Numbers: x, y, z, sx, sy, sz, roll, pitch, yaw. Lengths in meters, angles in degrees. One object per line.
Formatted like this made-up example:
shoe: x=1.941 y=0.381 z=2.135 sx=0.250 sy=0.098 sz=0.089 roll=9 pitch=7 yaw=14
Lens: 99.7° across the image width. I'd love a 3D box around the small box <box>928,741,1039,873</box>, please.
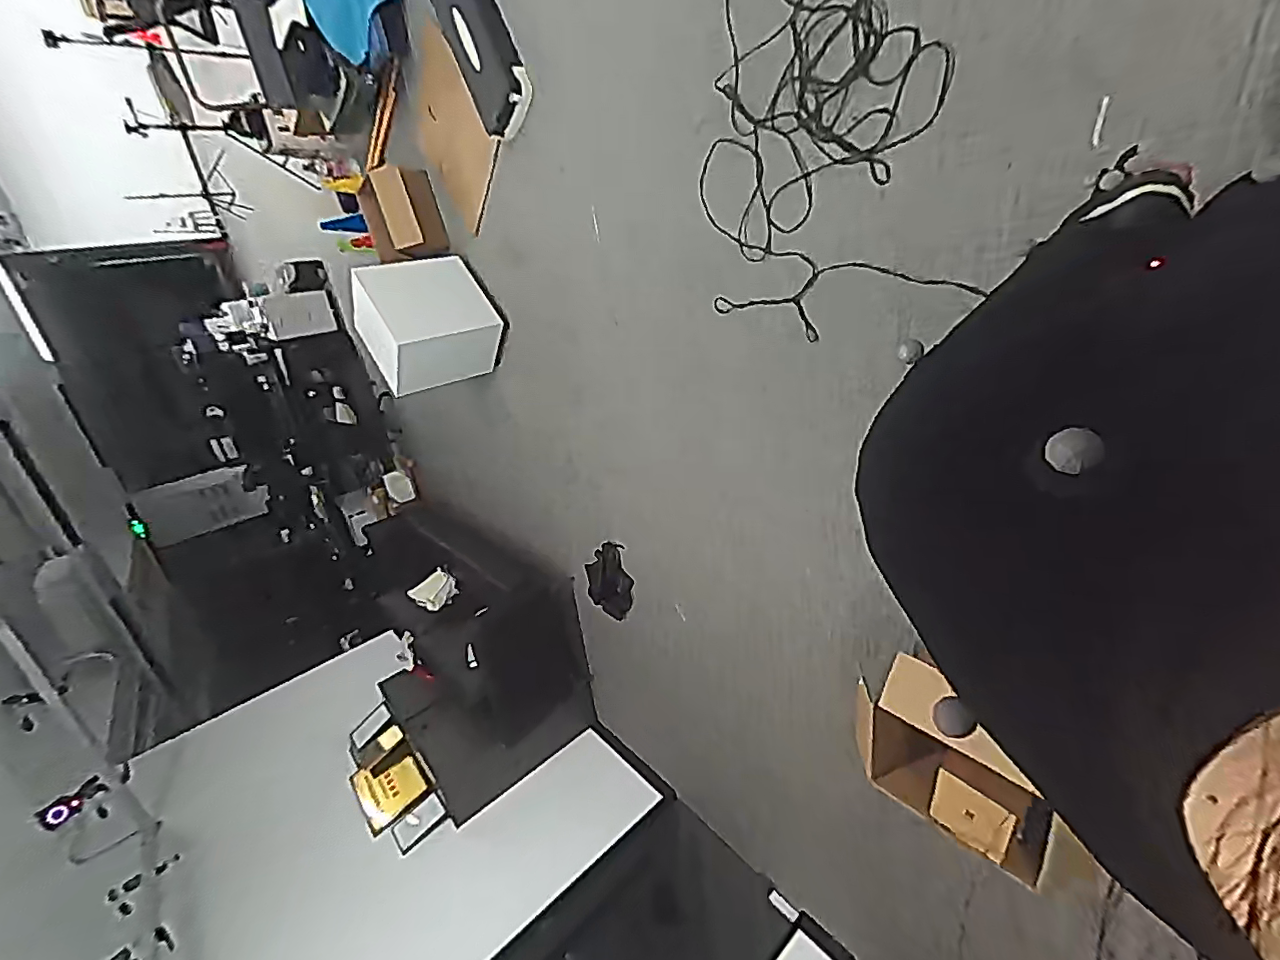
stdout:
small box: x=0.834 y=0.784 z=1.313 sx=0.168 sy=0.176 sz=0.179 roll=24 pitch=125 yaw=46
